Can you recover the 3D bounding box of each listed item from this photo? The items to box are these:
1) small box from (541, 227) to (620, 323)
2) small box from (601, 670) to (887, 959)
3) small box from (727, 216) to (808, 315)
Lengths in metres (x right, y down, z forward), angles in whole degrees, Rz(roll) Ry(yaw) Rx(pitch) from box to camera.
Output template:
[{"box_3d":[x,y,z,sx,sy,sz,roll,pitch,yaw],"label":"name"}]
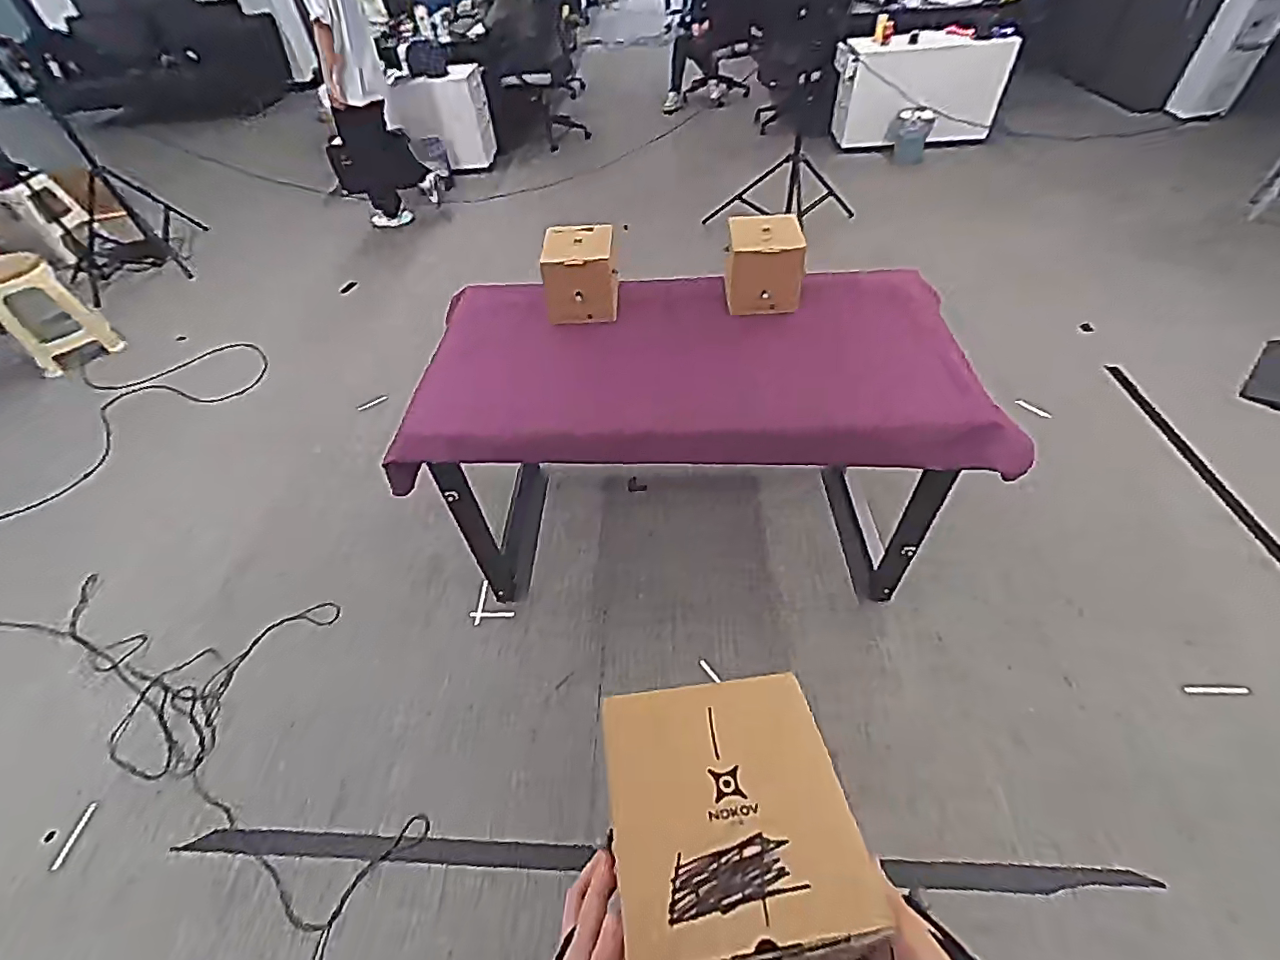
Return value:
[{"box_3d":[-0.141,-0.510,1.359,0.168,0.176,0.179,-1,51,3],"label":"small box"},{"box_3d":[0.061,0.284,0.433,0.168,0.176,0.179,-5,39,-7],"label":"small box"},{"box_3d":[0.306,-0.528,1.337,0.168,0.176,0.179,-2,50,5],"label":"small box"}]
